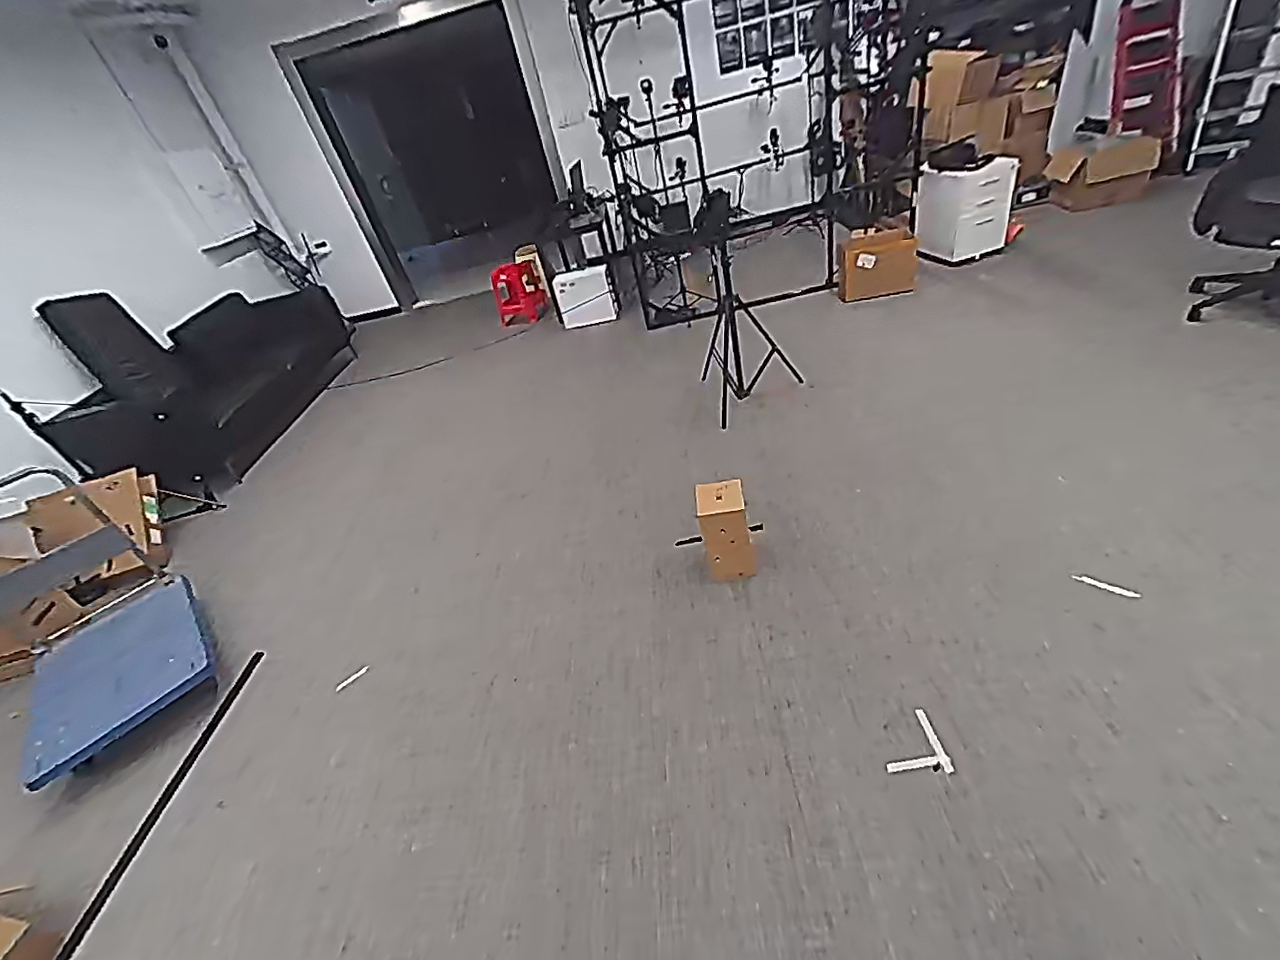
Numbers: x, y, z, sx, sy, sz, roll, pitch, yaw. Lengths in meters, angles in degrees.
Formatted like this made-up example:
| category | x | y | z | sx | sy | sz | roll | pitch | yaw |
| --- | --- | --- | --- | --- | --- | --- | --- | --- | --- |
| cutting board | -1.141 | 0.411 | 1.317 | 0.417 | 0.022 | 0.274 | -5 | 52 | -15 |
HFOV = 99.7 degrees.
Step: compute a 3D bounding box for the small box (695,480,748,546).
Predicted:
| category | x | y | z | sx | sy | sz | roll | pitch | yaw |
| --- | --- | --- | --- | --- | --- | --- | --- | --- | --- |
| small box | 0.295 | 0.125 | 1.960 | 0.168 | 0.176 | 0.179 | -8 | 35 | 10 |
